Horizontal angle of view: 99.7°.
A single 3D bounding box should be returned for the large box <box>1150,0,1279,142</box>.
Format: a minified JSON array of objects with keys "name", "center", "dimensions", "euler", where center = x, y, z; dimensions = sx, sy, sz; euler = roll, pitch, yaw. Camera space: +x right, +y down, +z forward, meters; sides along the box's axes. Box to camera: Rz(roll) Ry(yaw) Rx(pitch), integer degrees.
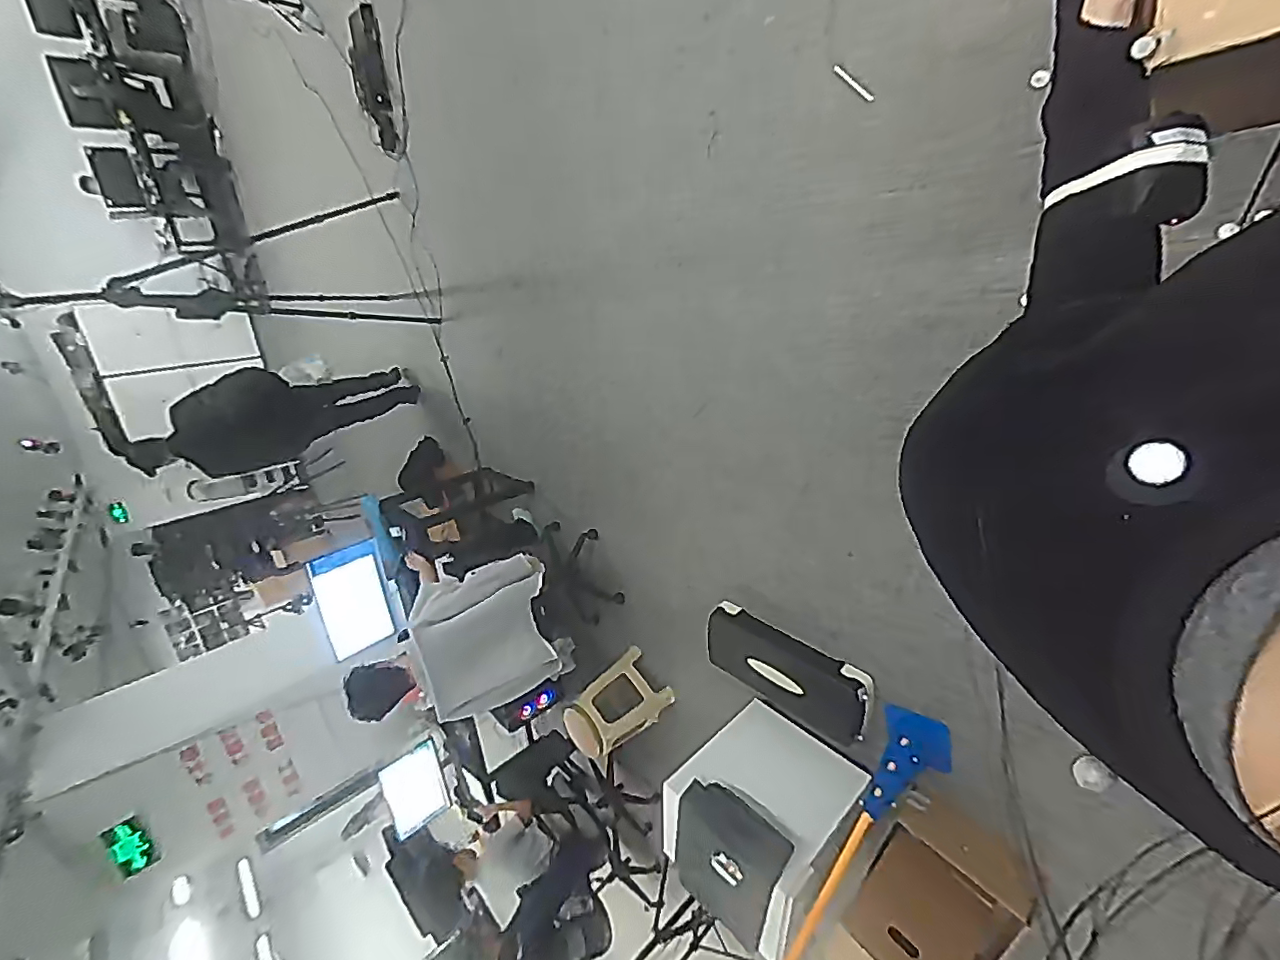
[{"name":"large box","center":[0.576,-0.434,0.293],"dimensions":[0.408,0.320,0.320],"euler":[9,111,42]}]
